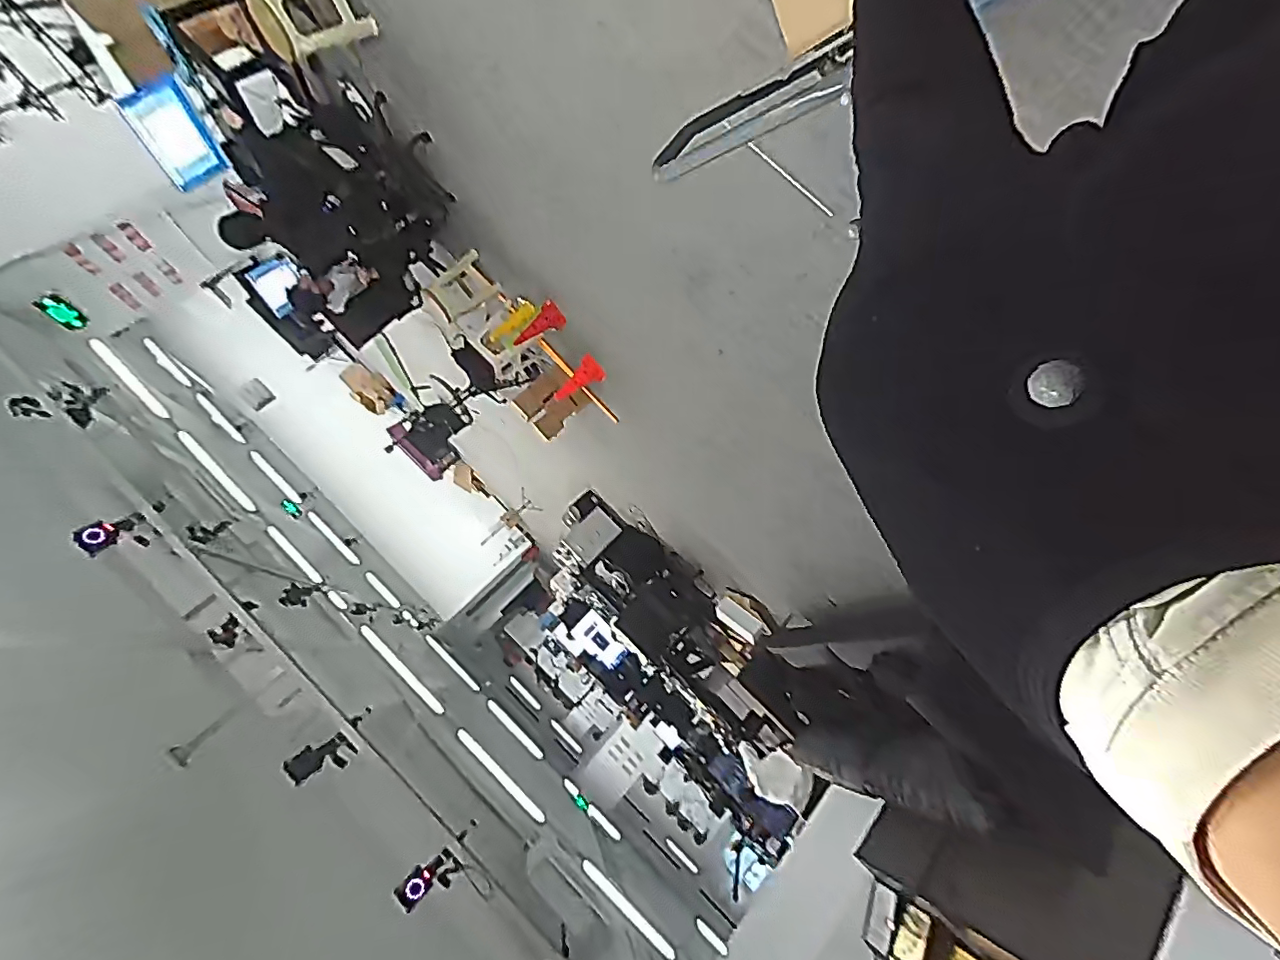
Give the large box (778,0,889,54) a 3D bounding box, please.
[{"bbox_3d":[0.391,-1.042,0.883,0.320,0.320,0.408,14,142,55],"label":"large box"}]
